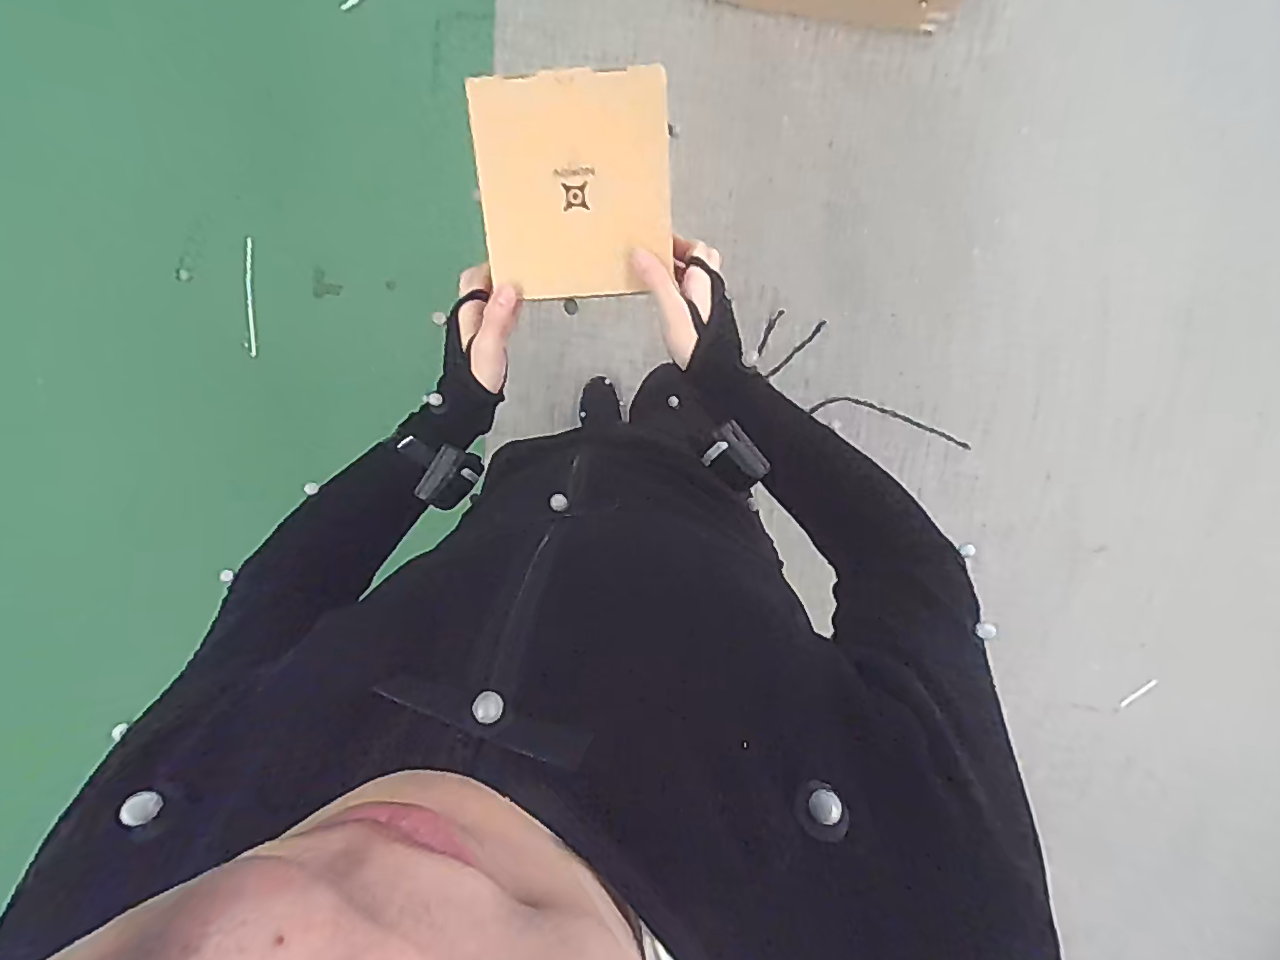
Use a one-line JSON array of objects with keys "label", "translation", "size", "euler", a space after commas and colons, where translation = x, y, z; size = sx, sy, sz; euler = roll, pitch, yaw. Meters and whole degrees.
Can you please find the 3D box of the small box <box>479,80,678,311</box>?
[{"label": "small box", "translation": [-0.047, -0.264, 0.543], "size": [0.168, 0.176, 0.179], "euler": [-2, 106, 1]}]
